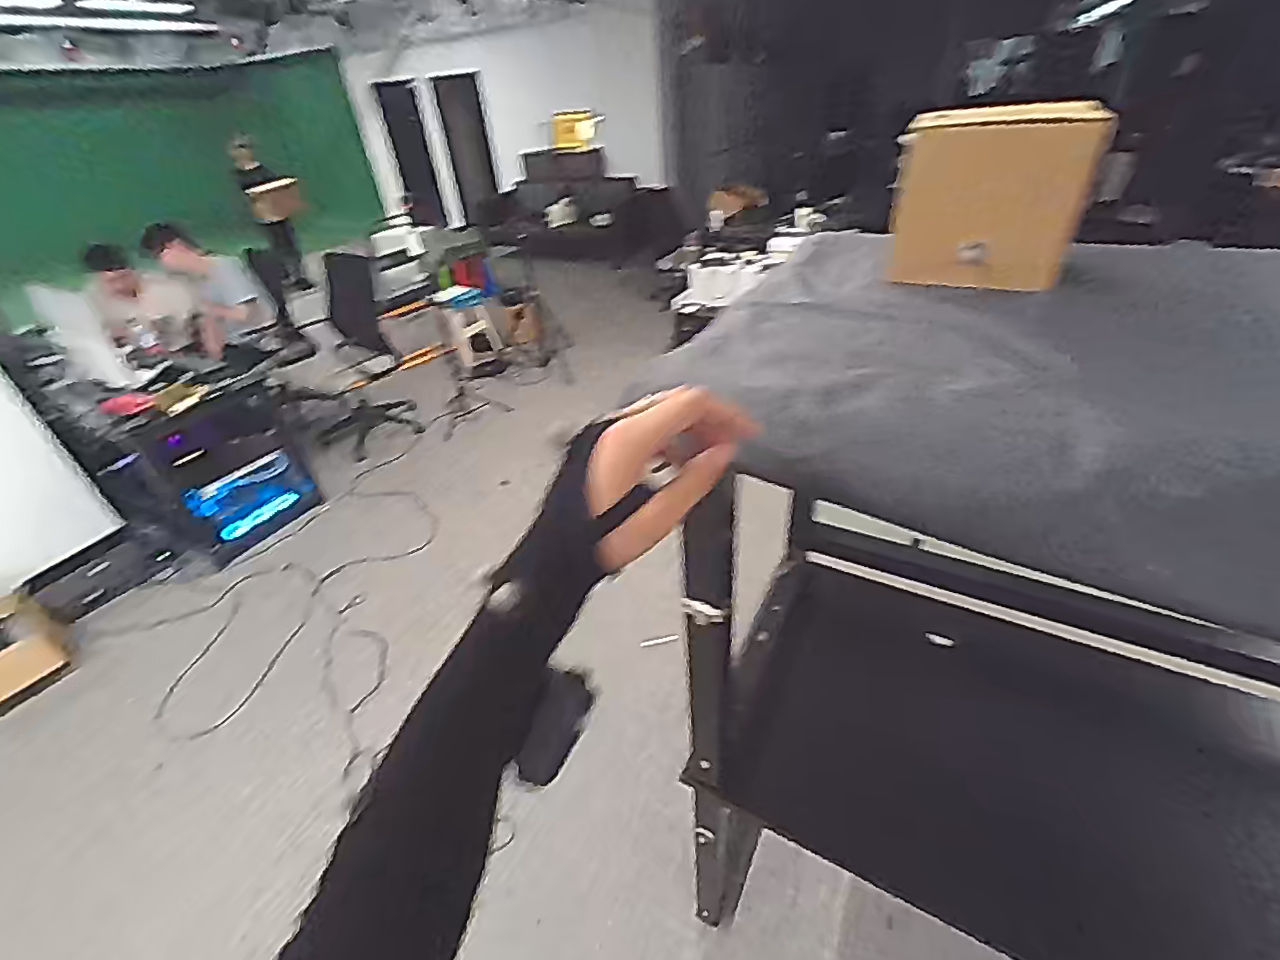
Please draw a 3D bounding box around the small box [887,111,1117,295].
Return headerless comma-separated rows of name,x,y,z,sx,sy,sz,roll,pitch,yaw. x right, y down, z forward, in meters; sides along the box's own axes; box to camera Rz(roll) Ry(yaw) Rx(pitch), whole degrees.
small box,0.416,-0.332,0.647,0.179,0.176,0.168,14,40,23
